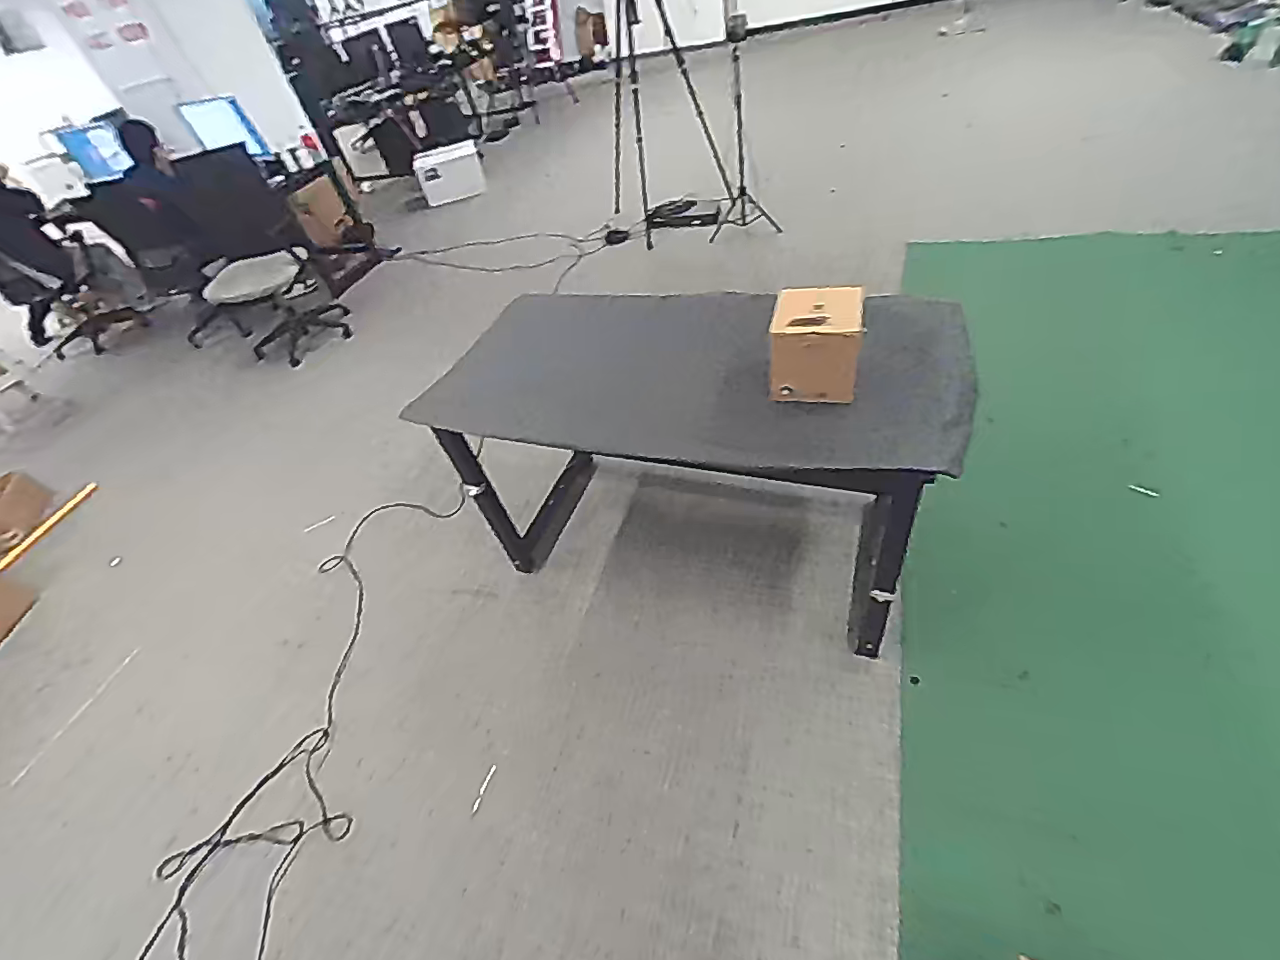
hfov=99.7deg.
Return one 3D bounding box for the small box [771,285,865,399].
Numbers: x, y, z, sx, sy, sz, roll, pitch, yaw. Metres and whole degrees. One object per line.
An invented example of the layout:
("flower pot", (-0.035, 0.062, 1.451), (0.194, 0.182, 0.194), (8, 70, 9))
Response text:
("small box", (0.371, -0.284, 1.125), (0.168, 0.176, 0.179), (6, 47, 19))
